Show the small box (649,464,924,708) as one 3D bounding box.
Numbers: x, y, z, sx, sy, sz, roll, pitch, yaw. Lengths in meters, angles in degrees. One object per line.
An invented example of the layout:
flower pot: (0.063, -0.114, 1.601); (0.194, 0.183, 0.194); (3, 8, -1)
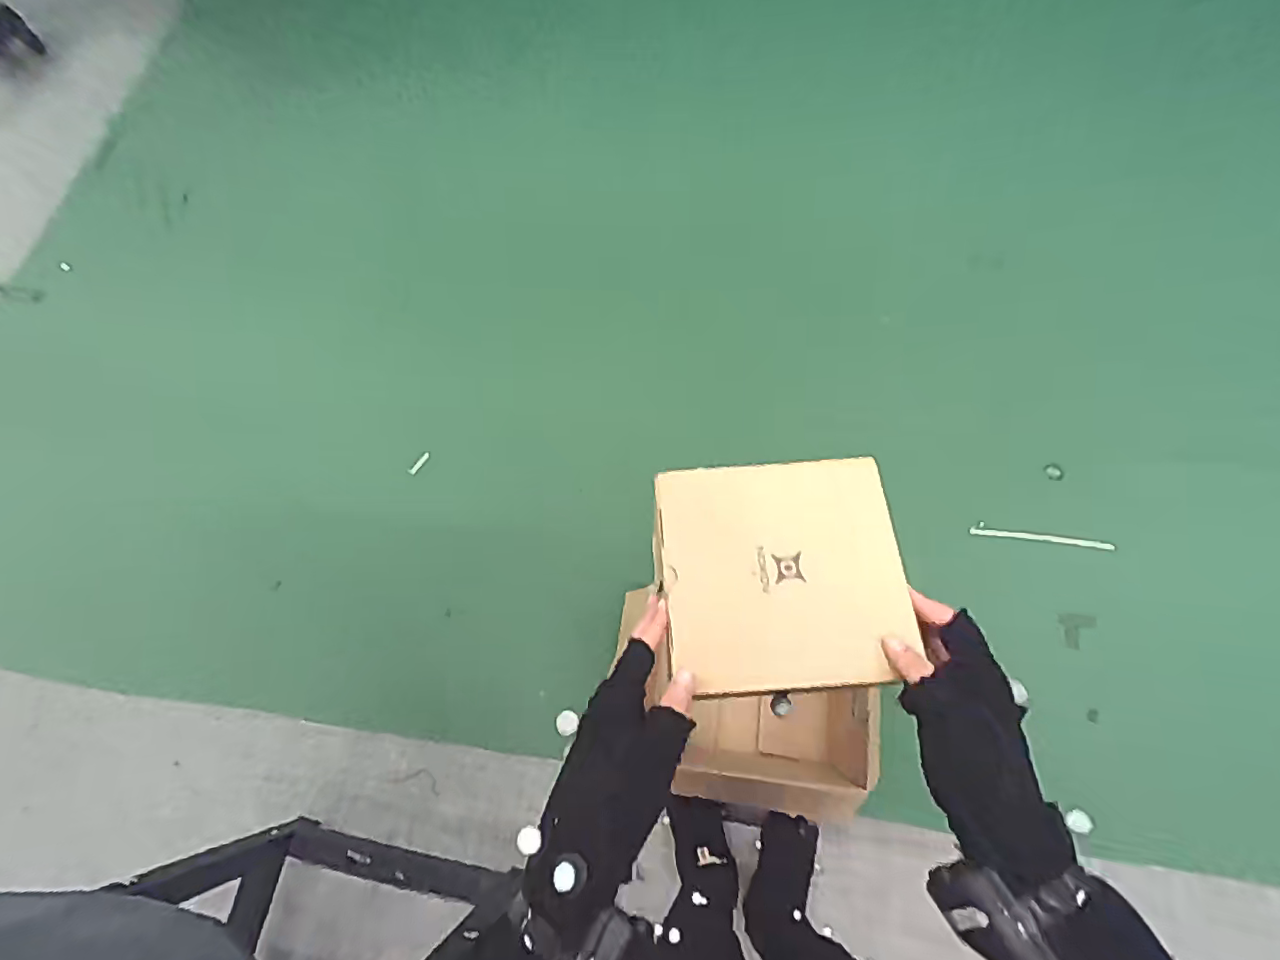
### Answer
small box: (0.099, 0.098, 0.459); (0.179, 0.176, 0.168); (-4, 68, 0)
